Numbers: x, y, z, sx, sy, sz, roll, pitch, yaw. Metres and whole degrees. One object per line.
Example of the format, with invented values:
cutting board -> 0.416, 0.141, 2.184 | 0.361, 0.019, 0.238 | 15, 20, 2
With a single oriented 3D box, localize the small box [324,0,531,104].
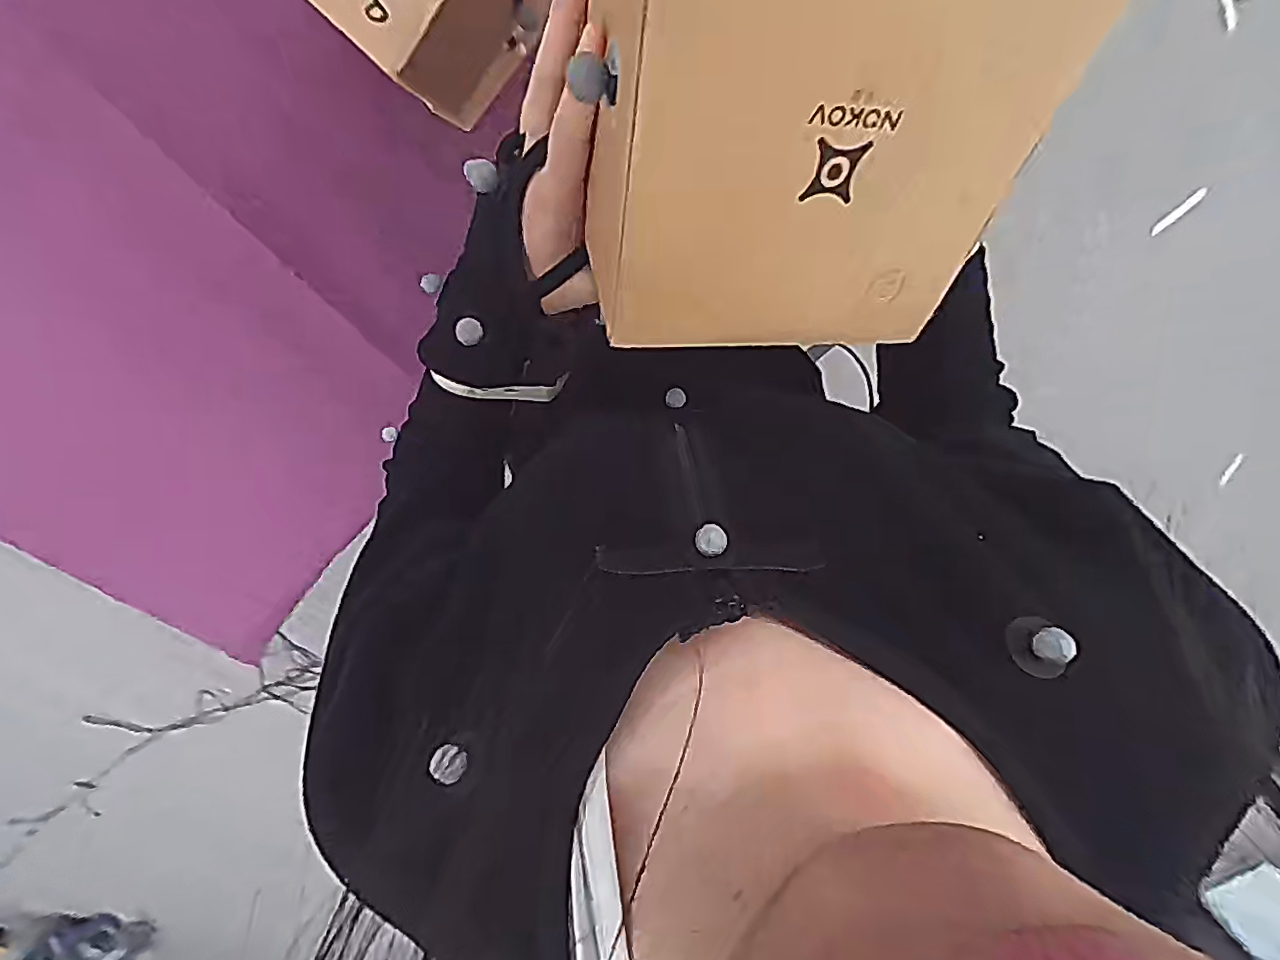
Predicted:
small box -> -0.140, -0.359, 0.303 | 0.168, 0.176, 0.179 | 37, 107, -22

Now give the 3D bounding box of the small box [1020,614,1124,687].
small box -> 1.407, 0.554, 1.771 | 0.179, 0.176, 0.168 | 1, 116, -8

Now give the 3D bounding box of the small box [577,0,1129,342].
small box -> 0.061, -0.187, 0.254 | 0.168, 0.176, 0.179 | -3, 142, -12
